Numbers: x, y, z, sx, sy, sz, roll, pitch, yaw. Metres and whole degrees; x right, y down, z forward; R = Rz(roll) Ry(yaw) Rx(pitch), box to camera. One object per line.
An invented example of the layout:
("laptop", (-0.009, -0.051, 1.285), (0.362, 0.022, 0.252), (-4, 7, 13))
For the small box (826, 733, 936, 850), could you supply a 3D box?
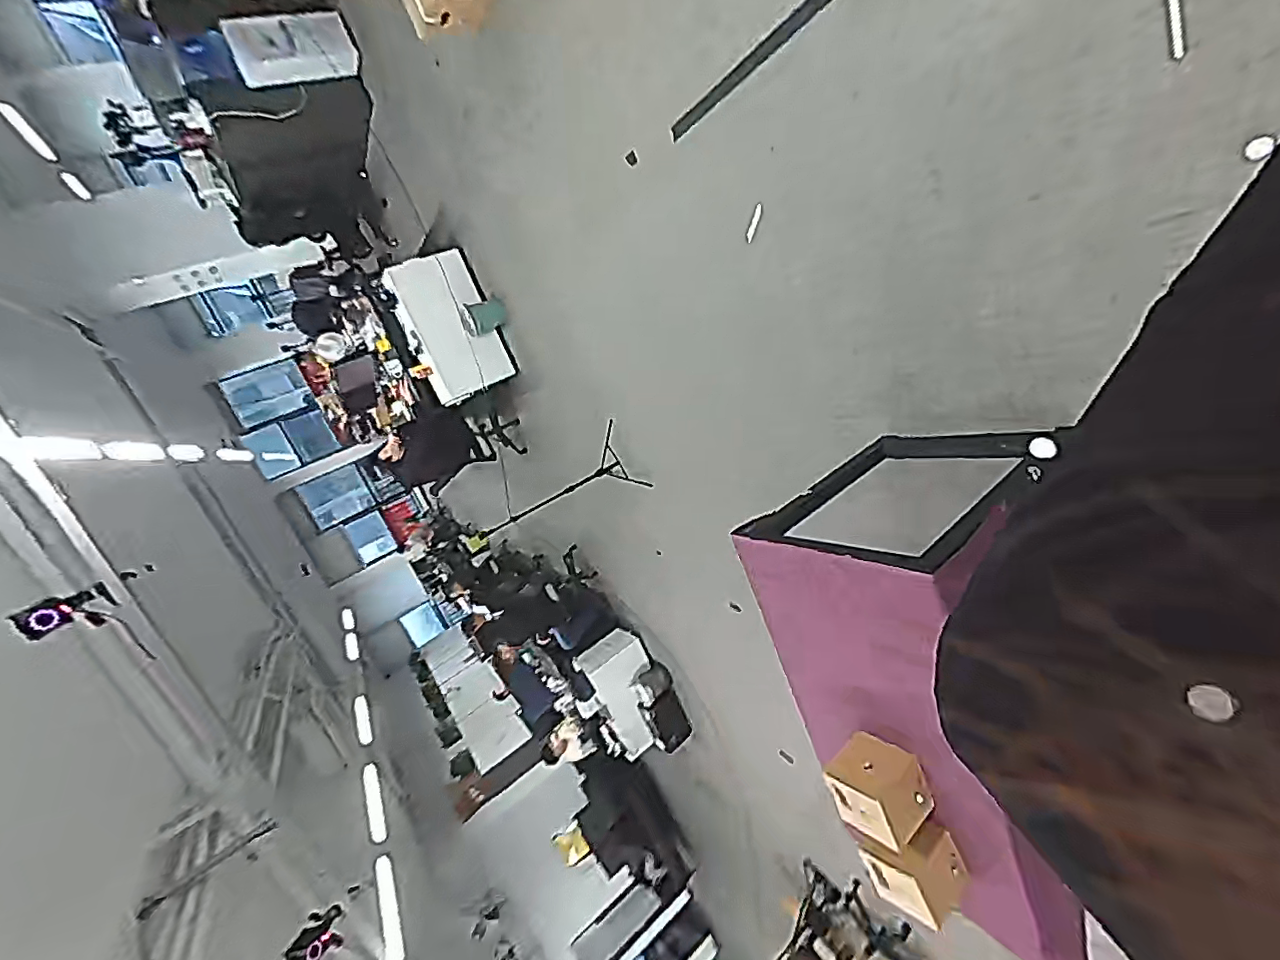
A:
("small box", (0.628, 0.798, 1.409), (0.179, 0.176, 0.168), (-3, 115, 60))
